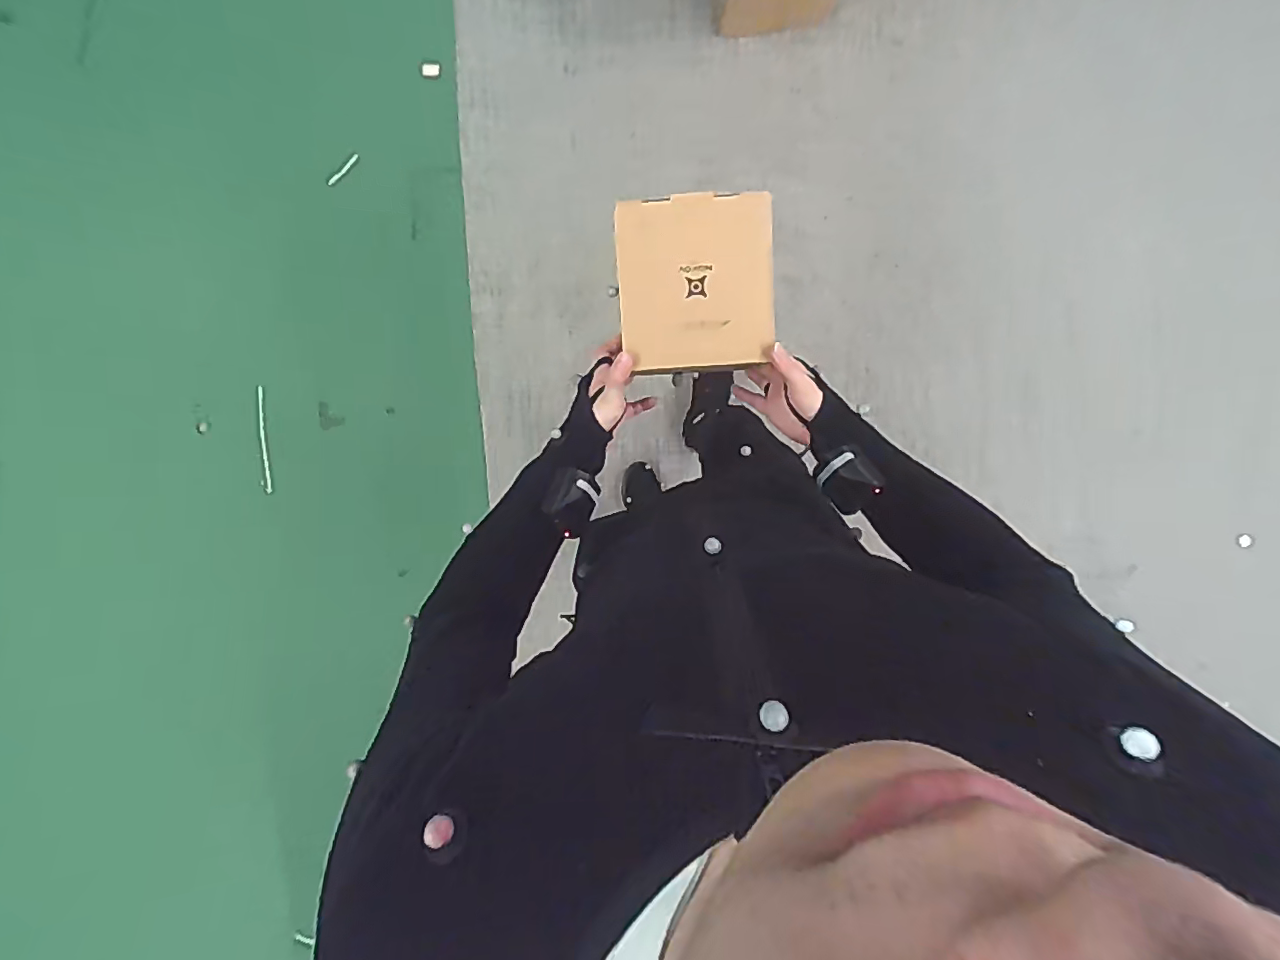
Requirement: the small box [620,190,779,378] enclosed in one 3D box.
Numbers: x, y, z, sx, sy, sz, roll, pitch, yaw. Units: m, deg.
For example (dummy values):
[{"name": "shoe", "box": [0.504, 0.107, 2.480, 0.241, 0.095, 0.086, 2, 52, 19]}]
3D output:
[{"name": "small box", "box": [0.062, -0.216, 0.638, 0.168, 0.176, 0.179, -2, 98, 1]}]
